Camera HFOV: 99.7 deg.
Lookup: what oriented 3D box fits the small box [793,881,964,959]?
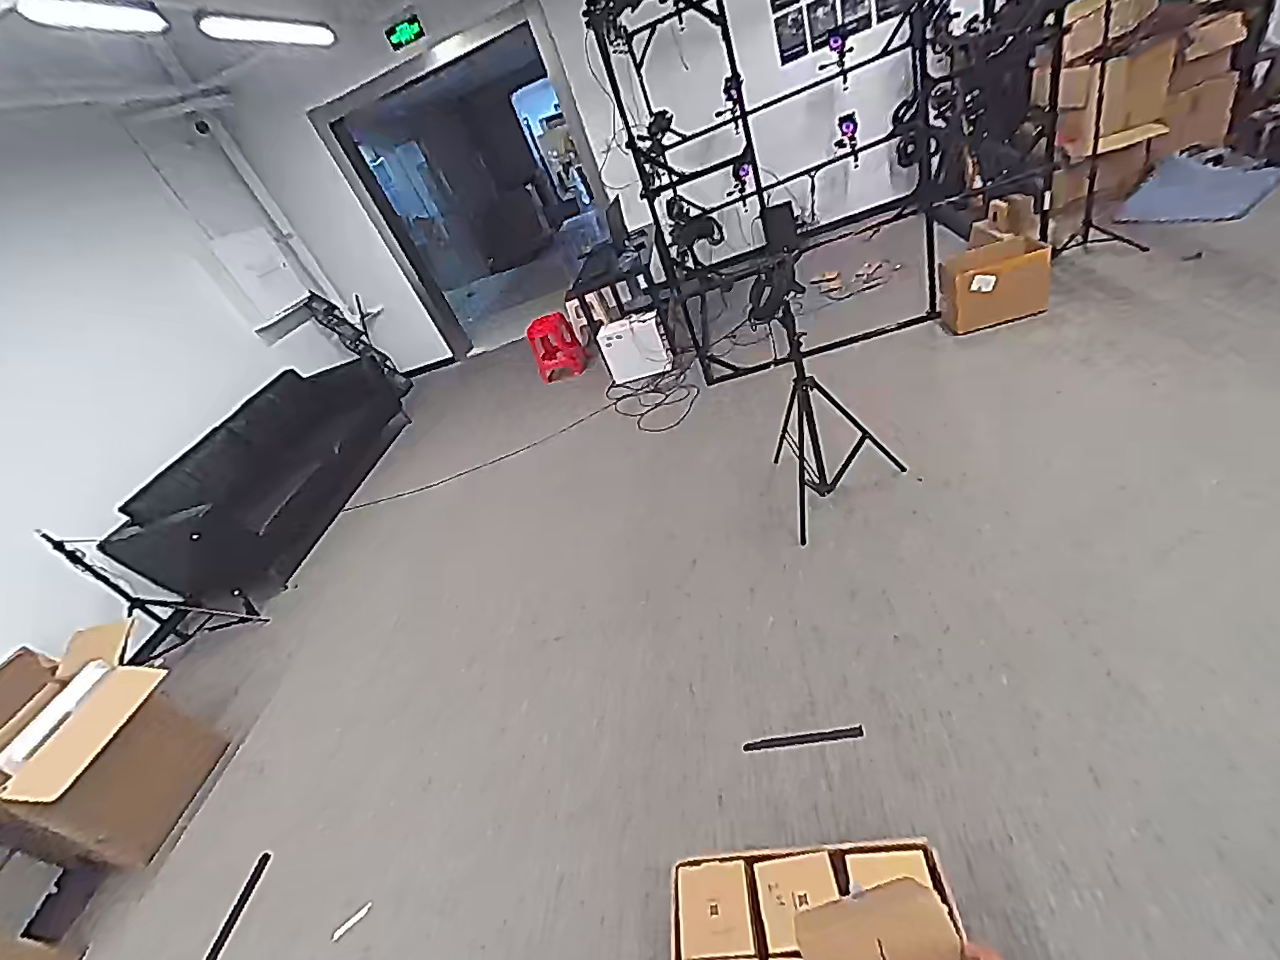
[{"bbox_3d":[0.285,0.587,0.610,0.168,0.176,0.179,-21,56,2],"label":"small box"}]
